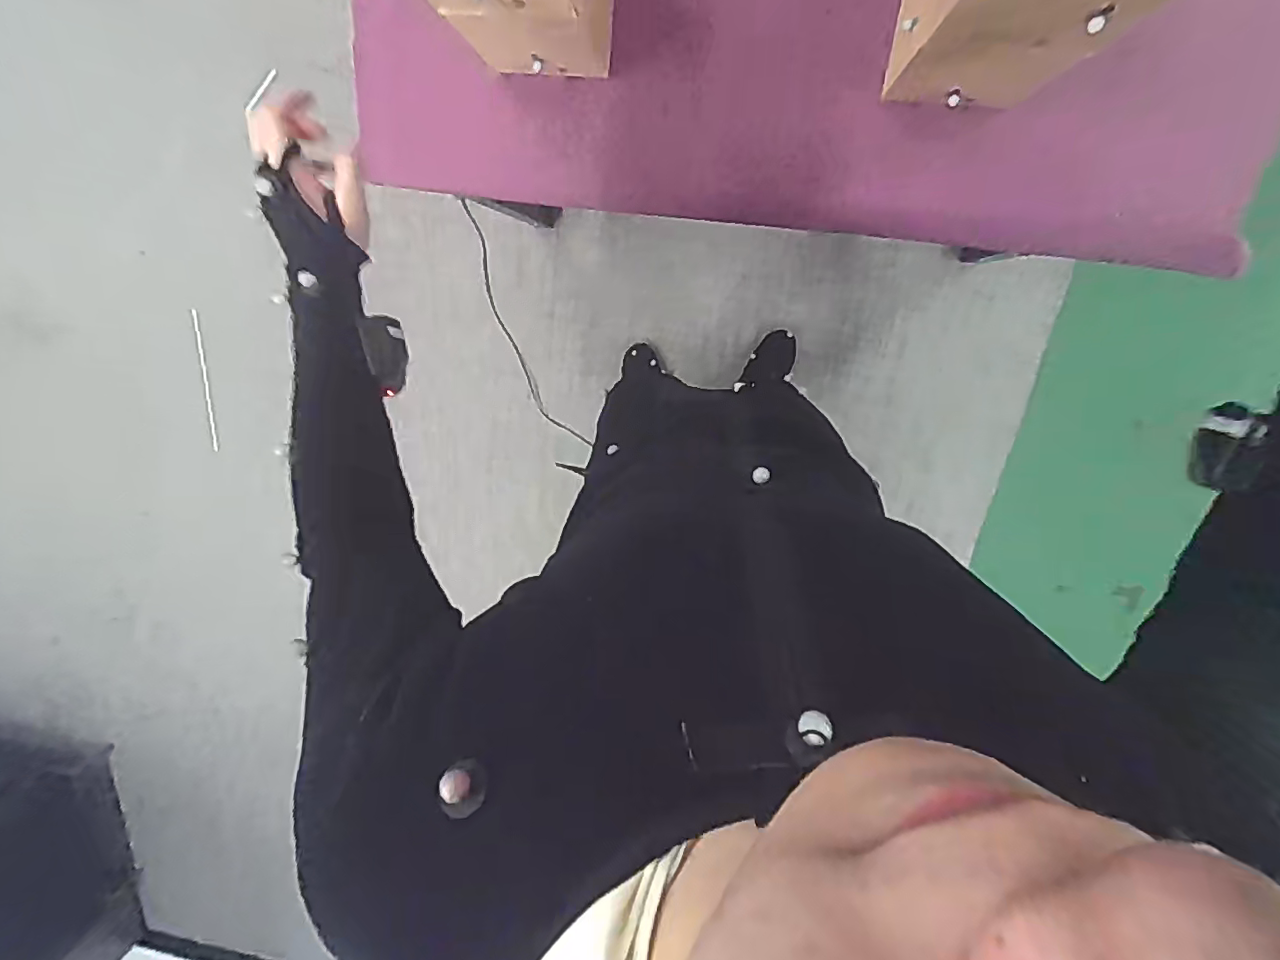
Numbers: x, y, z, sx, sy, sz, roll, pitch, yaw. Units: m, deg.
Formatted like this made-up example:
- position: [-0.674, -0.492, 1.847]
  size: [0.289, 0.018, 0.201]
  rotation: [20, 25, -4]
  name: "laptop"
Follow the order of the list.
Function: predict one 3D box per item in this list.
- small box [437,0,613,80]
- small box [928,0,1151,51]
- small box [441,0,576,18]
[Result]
- position: [-0.128, -0.625, 0.653]
  size: [0.168, 0.176, 0.179]
  rotation: [8, 109, 7]
  name: "small box"
- position: [0.360, -0.487, 0.440]
  size: [0.168, 0.176, 0.179]
  rotation: [9, 109, 7]
  name: "small box"
- position: [-0.153, -0.578, 0.500]
  size: [0.168, 0.176, 0.179]
  rotation: [7, 109, 7]
  name: "small box"
